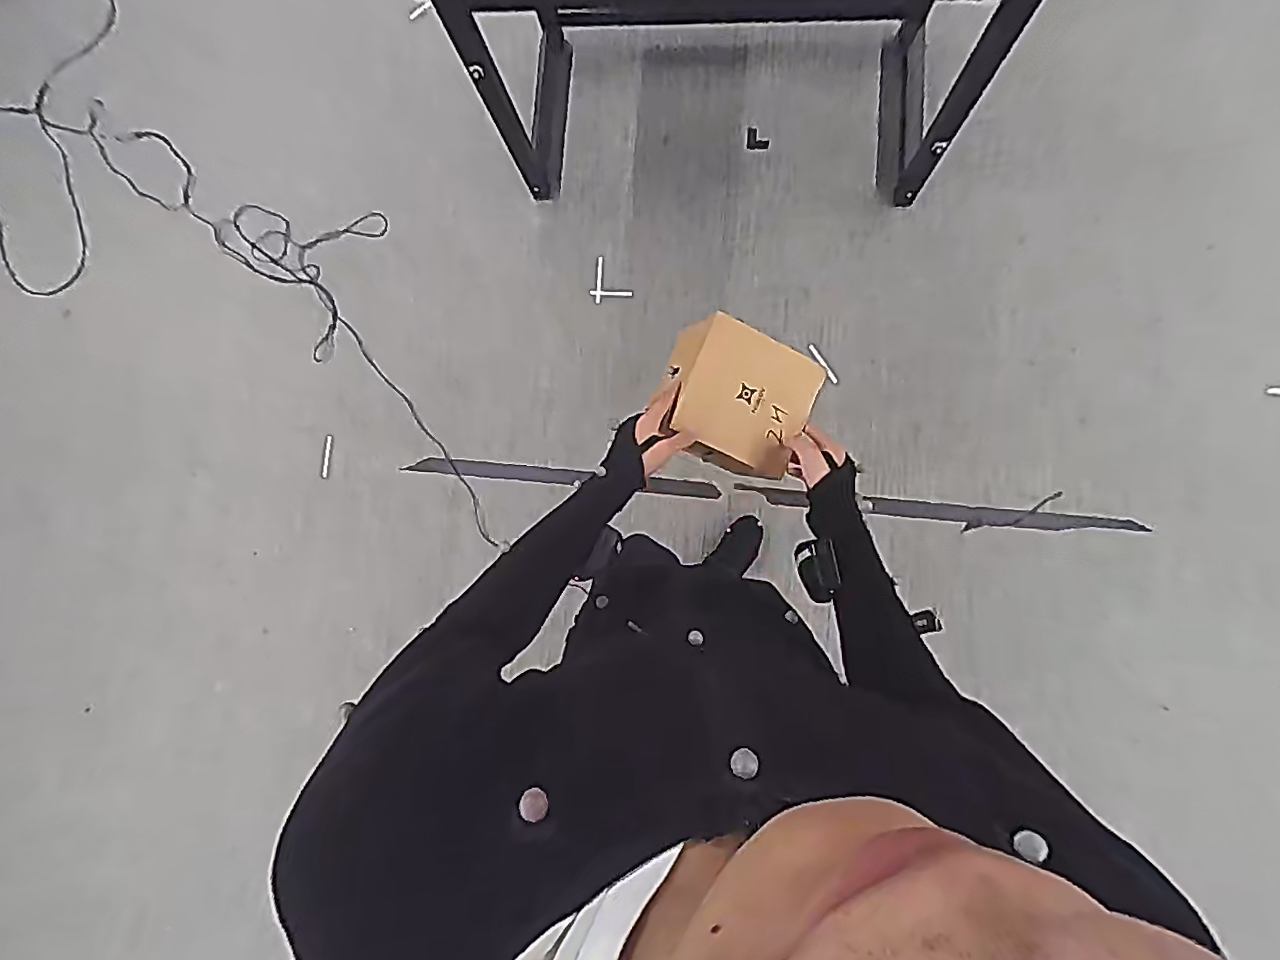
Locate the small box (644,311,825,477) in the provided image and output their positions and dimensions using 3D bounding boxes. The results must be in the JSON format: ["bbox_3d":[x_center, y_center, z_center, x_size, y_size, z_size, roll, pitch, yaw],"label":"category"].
[{"bbox_3d":[0.124,-0.114,0.781,0.179,0.176,0.168,24,89,-13],"label":"small box"}]
